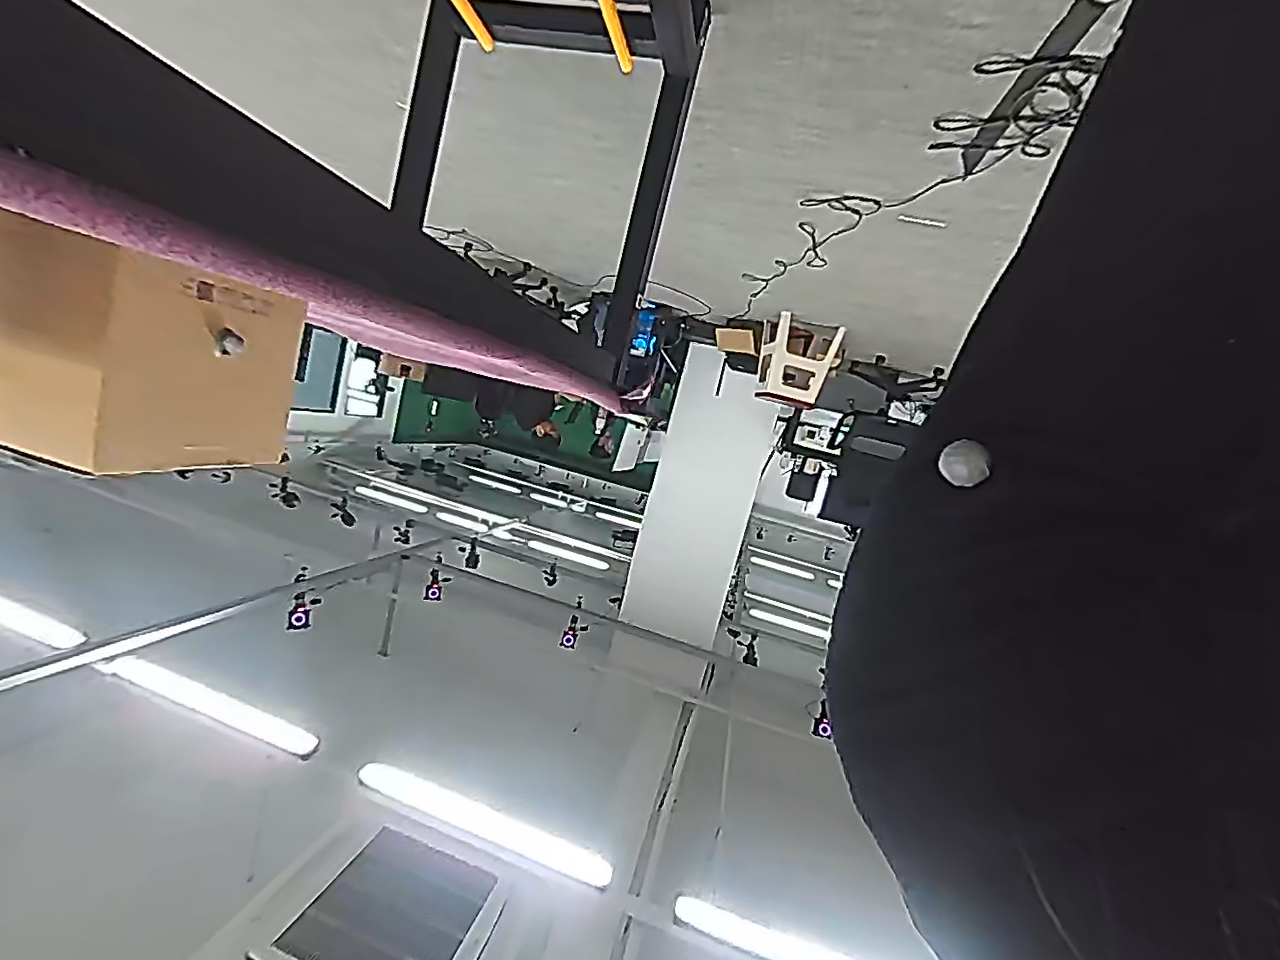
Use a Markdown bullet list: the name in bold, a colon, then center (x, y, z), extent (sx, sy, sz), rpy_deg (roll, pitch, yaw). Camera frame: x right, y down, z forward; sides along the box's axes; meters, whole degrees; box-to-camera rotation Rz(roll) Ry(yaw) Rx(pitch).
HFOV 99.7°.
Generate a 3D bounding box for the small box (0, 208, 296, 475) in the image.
- **small box**: center (-0.432, -0.112, 0.458), extent (0.179, 0.176, 0.168), rpy_deg (15, -172, 8)
